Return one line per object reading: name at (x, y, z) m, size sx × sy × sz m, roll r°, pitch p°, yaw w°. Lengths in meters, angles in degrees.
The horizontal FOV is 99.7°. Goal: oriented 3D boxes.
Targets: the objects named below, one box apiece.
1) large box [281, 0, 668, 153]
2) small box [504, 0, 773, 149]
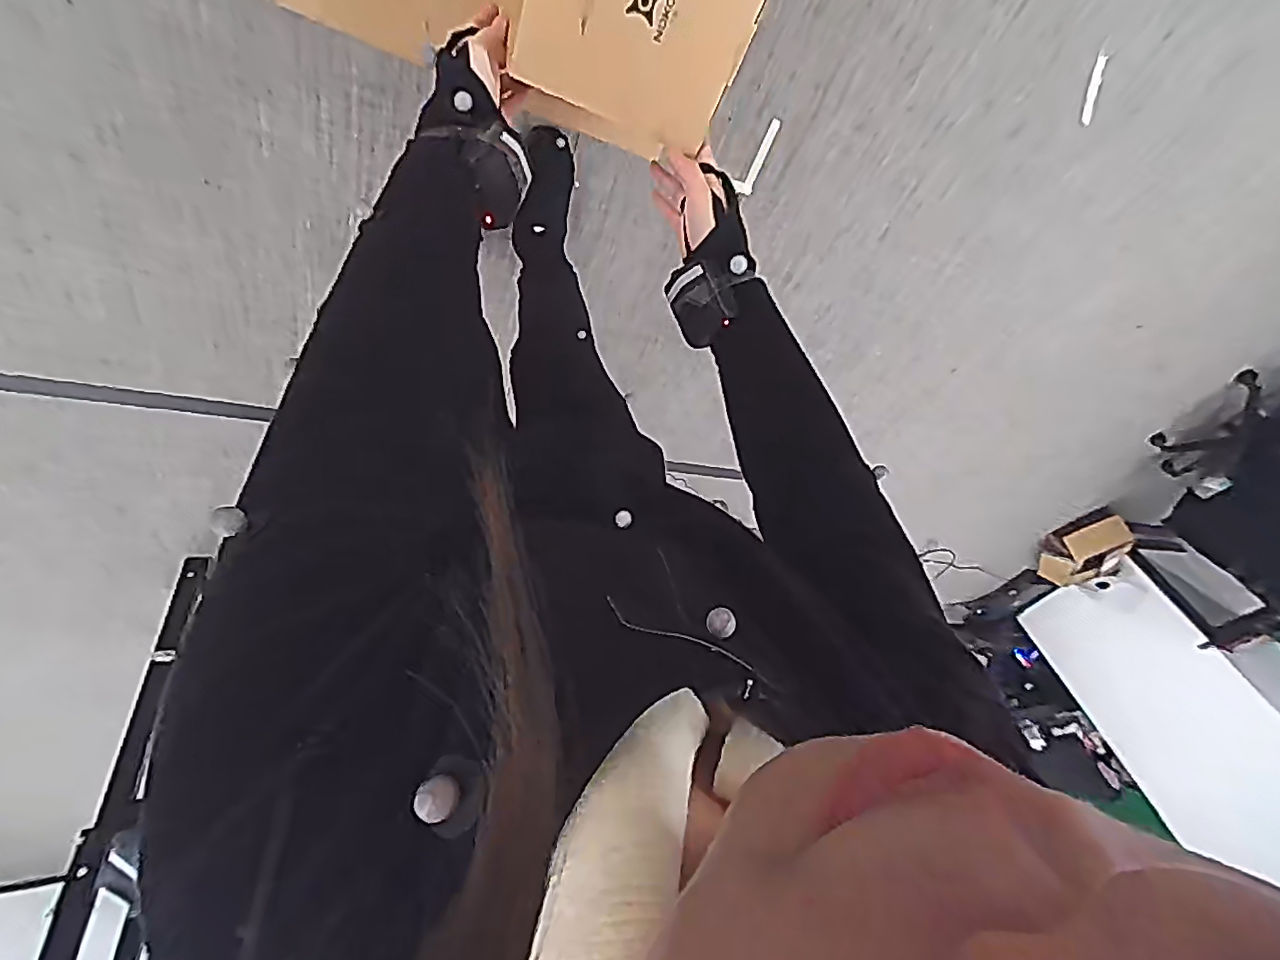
large box at (-0.124, -0.618, 0.557) m, size 0.408 × 0.320 × 0.320 m, roll 8°, pitch 134°, yaw -25°
small box at (-0.004, -0.419, 0.444) m, size 0.179 × 0.176 × 0.168 m, roll 8°, pitch 135°, yaw -26°
